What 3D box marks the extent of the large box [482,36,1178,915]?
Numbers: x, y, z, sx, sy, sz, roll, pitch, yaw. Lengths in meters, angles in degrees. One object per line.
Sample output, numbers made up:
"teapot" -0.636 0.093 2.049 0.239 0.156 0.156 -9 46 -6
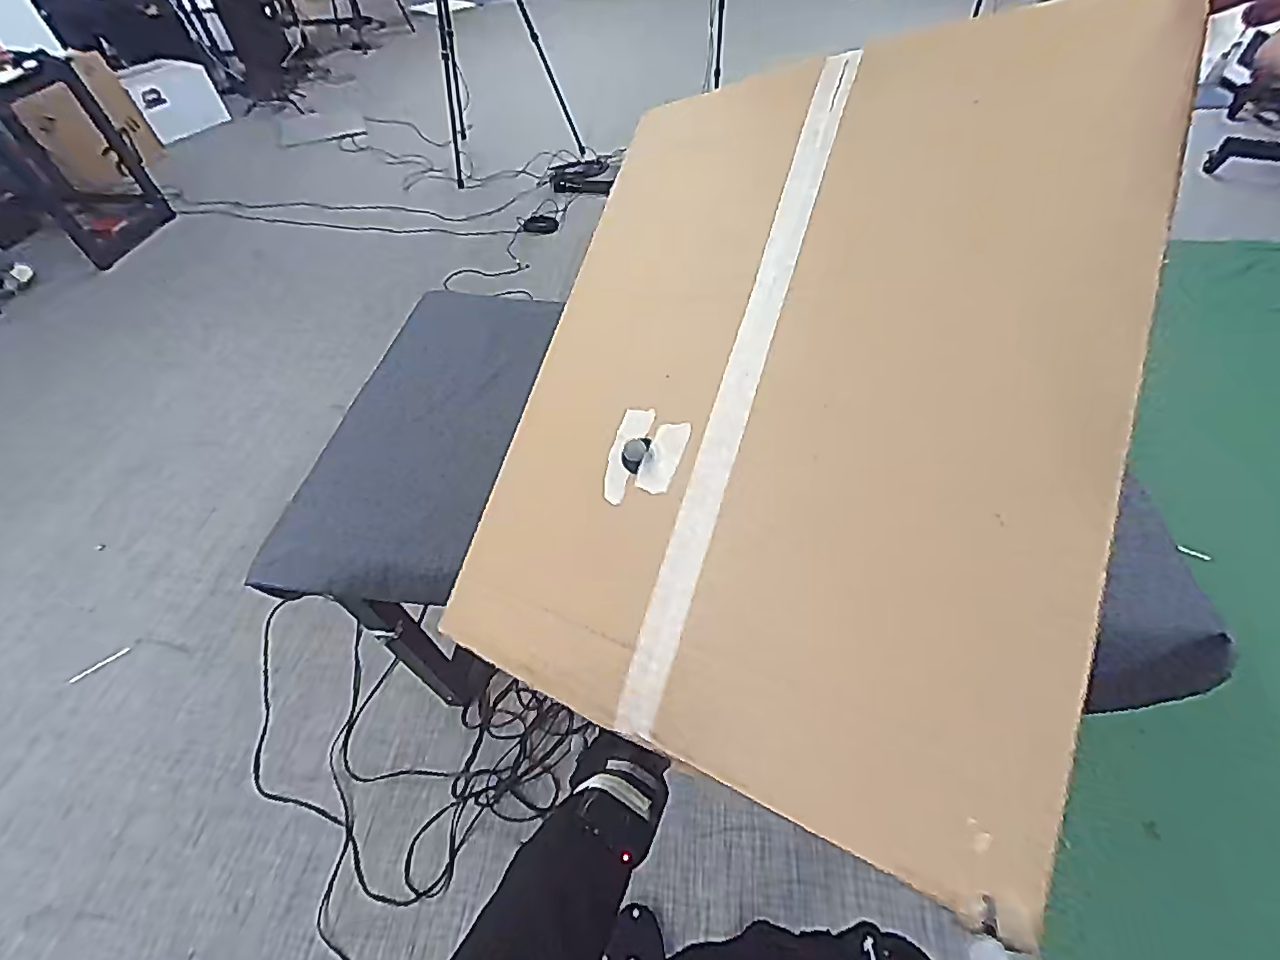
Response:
"large box" 0.147 -0.011 0.429 0.320 0.320 0.408 11 78 34
